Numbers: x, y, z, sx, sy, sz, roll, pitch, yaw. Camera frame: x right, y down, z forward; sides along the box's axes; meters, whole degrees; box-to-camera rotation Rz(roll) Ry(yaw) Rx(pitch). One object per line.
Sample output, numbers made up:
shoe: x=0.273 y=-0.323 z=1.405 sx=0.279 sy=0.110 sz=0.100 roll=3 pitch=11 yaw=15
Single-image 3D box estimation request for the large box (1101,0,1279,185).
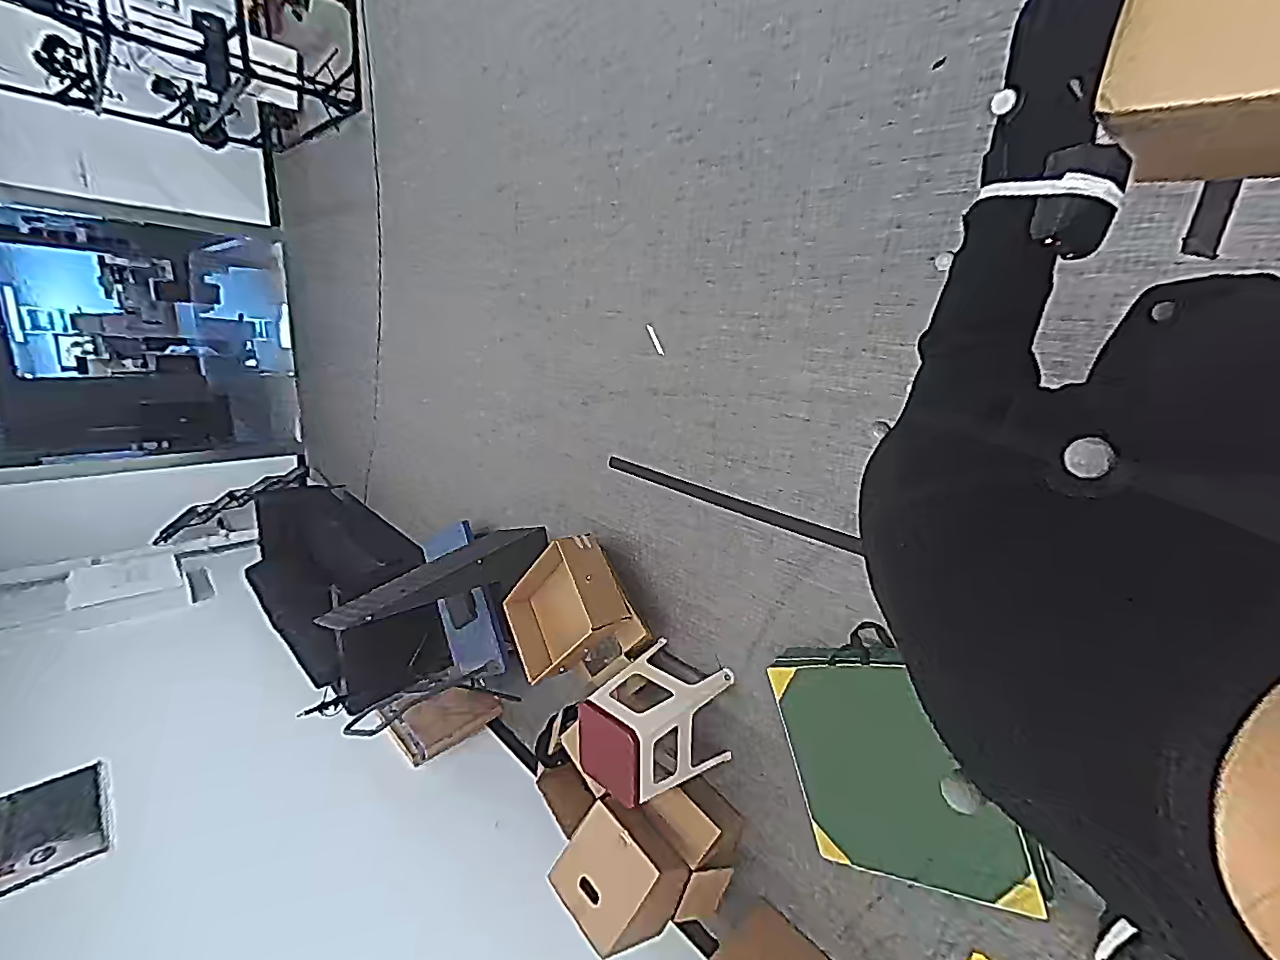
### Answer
large box: x=0.584 y=-0.382 z=0.316 sx=0.408 sy=0.320 sz=0.320 roll=22 pitch=118 yaw=40
